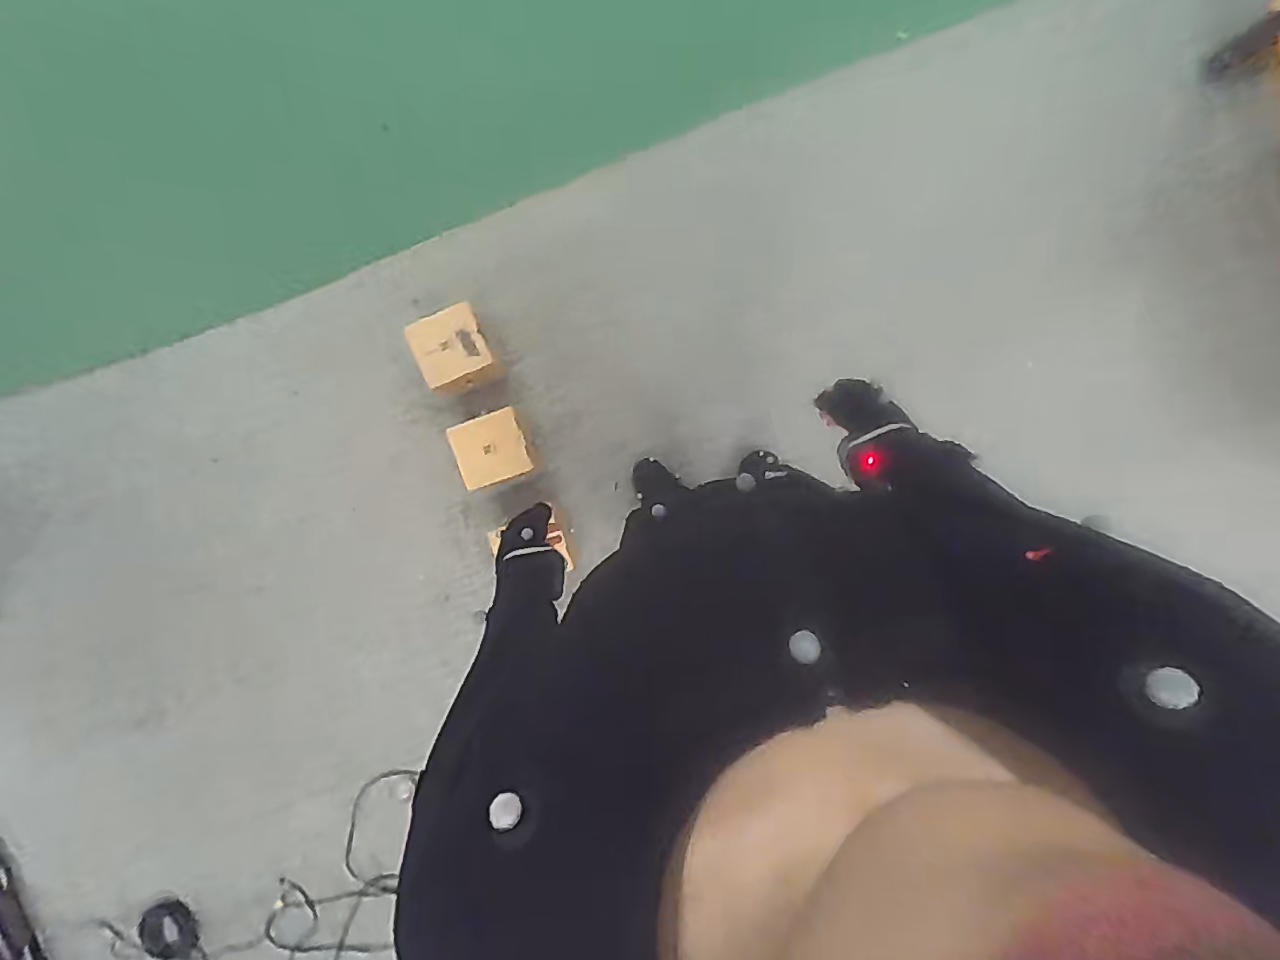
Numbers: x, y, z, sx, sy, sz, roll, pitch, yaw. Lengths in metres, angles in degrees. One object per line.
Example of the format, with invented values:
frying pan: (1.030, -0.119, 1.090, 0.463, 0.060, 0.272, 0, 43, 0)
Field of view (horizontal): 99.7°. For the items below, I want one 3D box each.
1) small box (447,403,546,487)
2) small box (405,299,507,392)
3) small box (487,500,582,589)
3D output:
small box: (-0.364, -0.088, 1.404, 0.179, 0.176, 0.168, -19, 92, 2)
small box: (-0.460, -0.339, 1.391, 0.179, 0.176, 0.168, -22, 92, 3)
small box: (-0.268, 0.162, 1.413, 0.179, 0.176, 0.168, -21, 94, 2)
